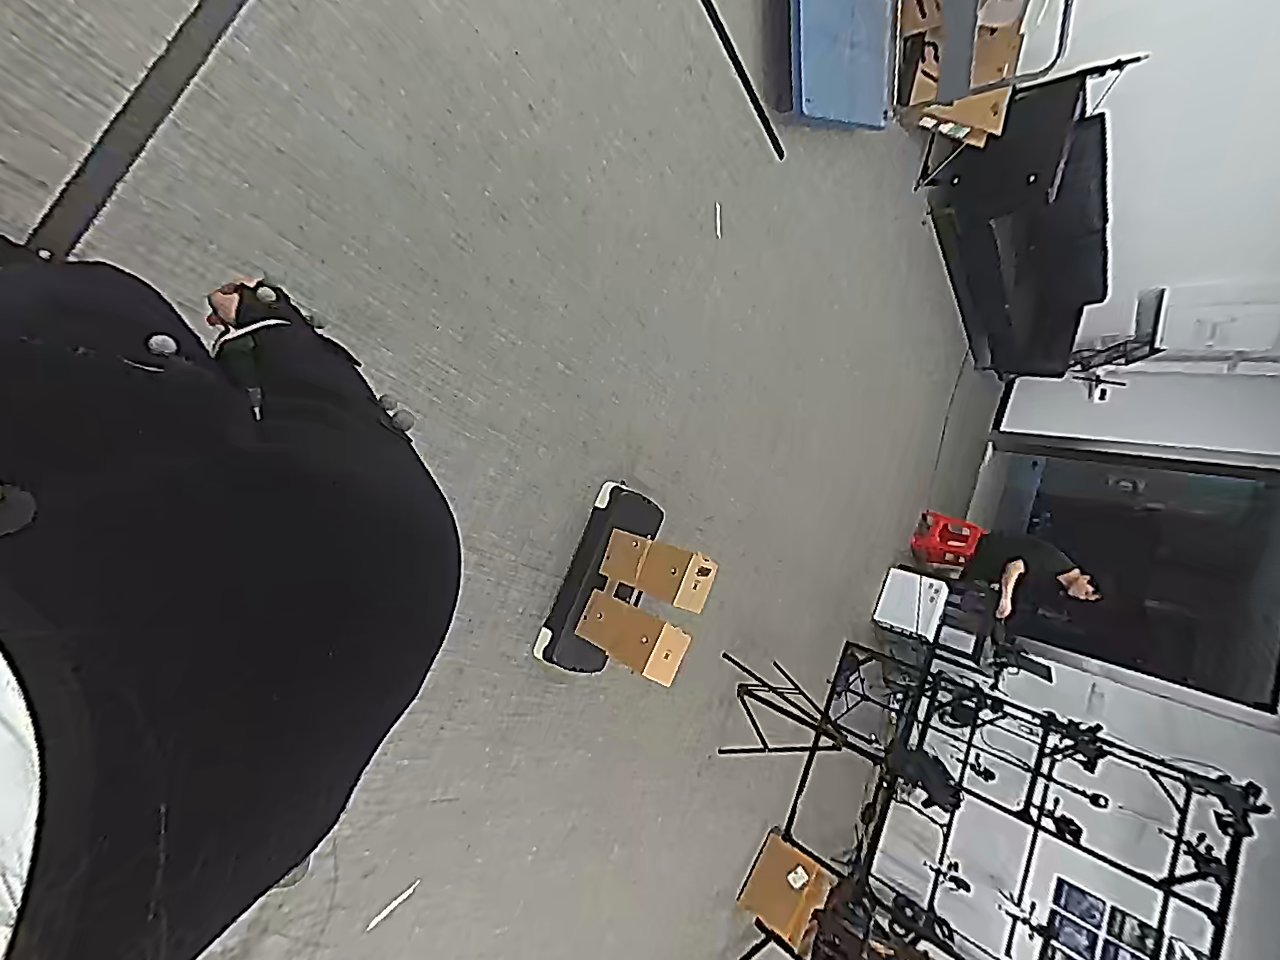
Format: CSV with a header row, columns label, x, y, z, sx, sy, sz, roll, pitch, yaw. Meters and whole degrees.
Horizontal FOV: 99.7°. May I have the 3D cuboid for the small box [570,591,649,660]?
label,x,y,z,sx,sy,sz,roll,pitch,yaw
small box,-0.108,0.494,1.853,0.179,0.176,0.168,39,71,-45
